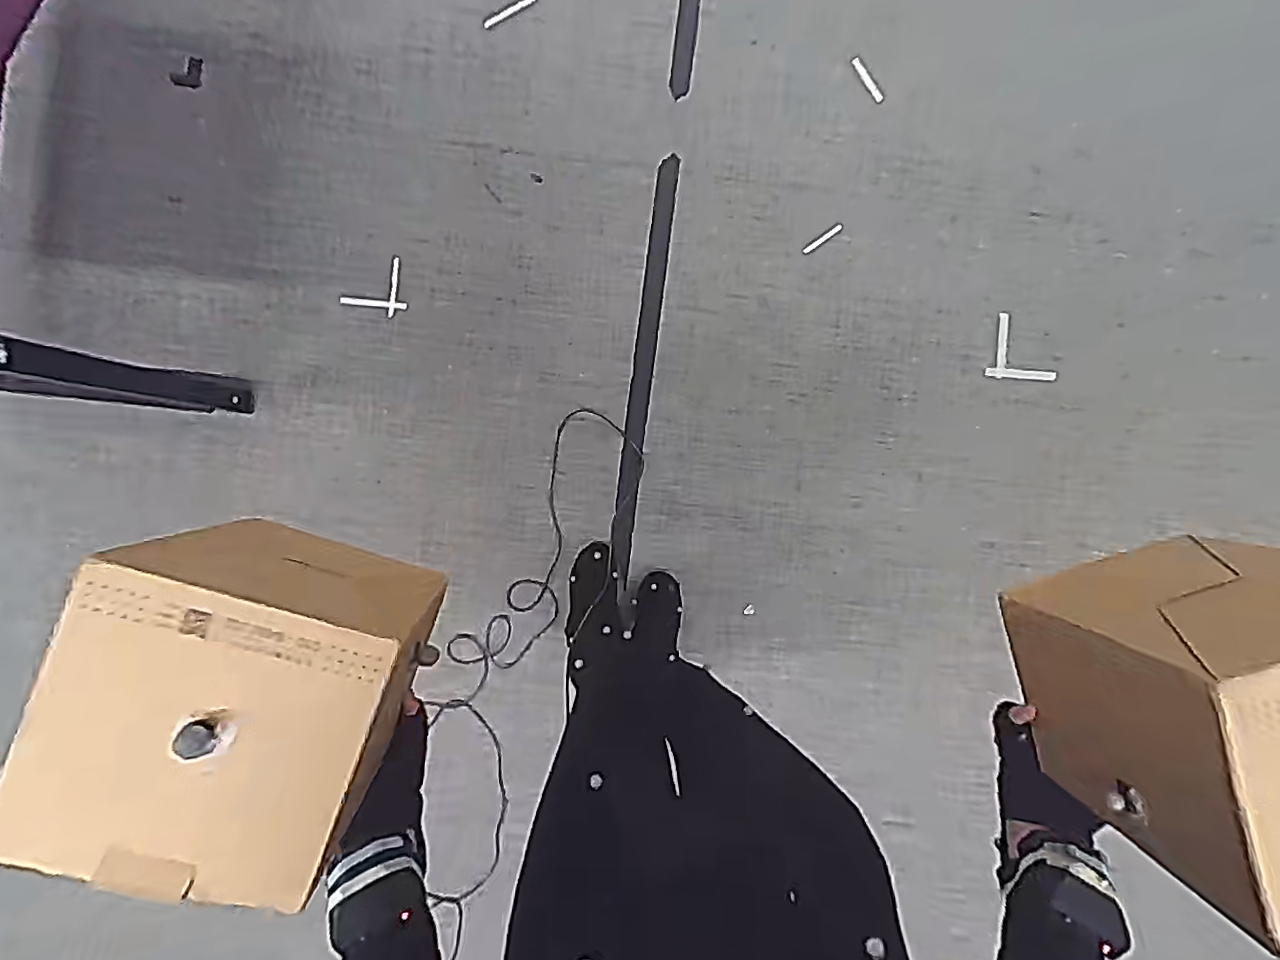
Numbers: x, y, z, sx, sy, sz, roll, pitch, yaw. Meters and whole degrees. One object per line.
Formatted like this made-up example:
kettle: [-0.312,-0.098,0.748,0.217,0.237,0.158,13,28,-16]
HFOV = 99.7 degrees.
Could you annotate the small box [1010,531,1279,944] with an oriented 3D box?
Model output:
small box: [0.394,0.144,0.366,0.168,0.179,0.176,-15,93,1]

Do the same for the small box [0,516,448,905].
small box: [-0.251,0.131,0.371,0.168,0.179,0.176,21,88,-11]
